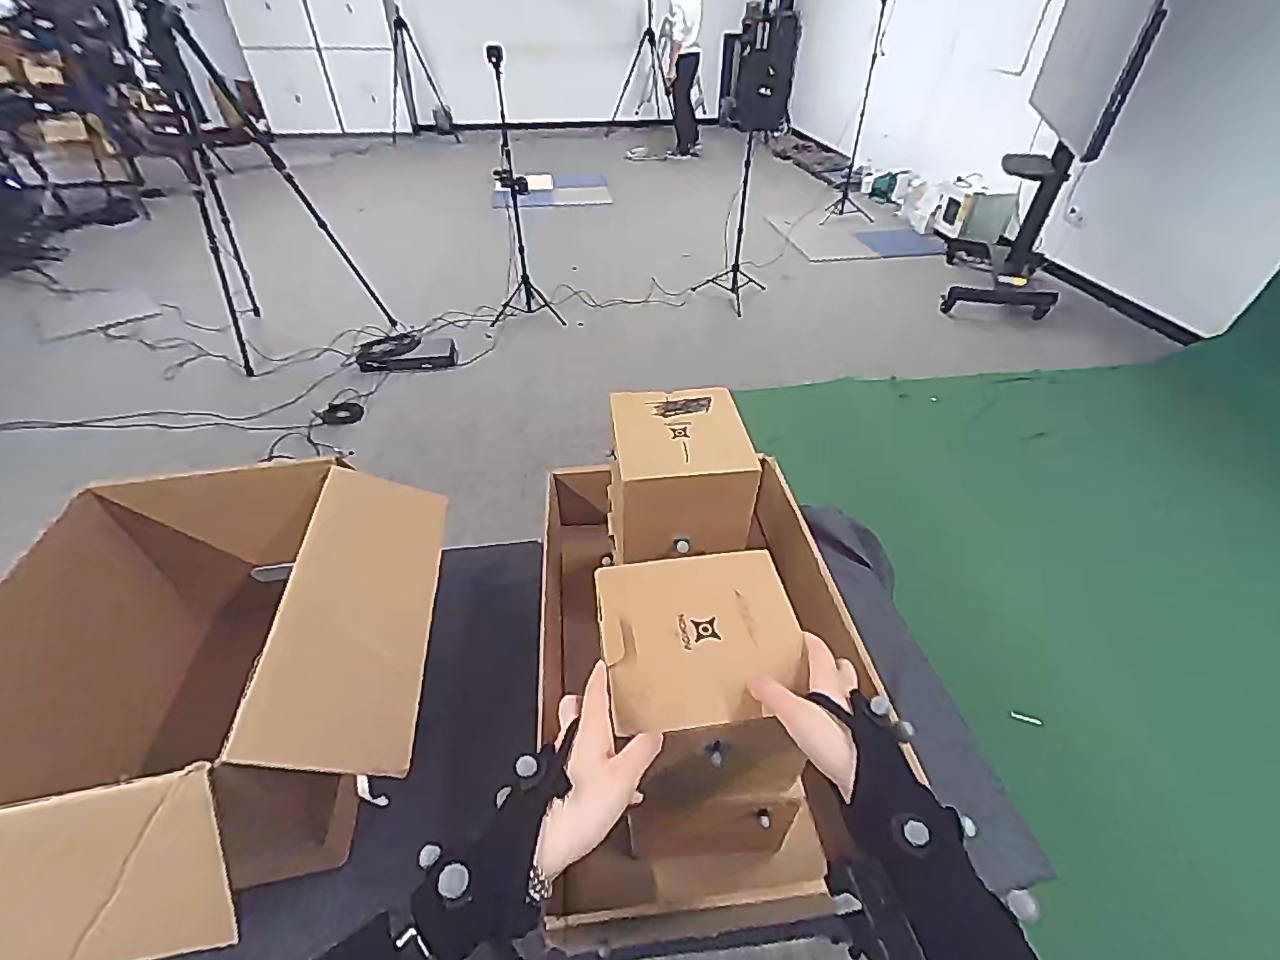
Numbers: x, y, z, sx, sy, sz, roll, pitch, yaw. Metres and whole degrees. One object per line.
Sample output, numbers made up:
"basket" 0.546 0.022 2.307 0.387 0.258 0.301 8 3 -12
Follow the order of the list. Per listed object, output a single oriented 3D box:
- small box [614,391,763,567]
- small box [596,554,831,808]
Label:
"small box" 0.051 -0.001 0.734 0.168 0.176 0.179 -4 44 -5
"small box" 0.055 0.196 0.527 0.179 0.176 0.168 -5 43 -8
